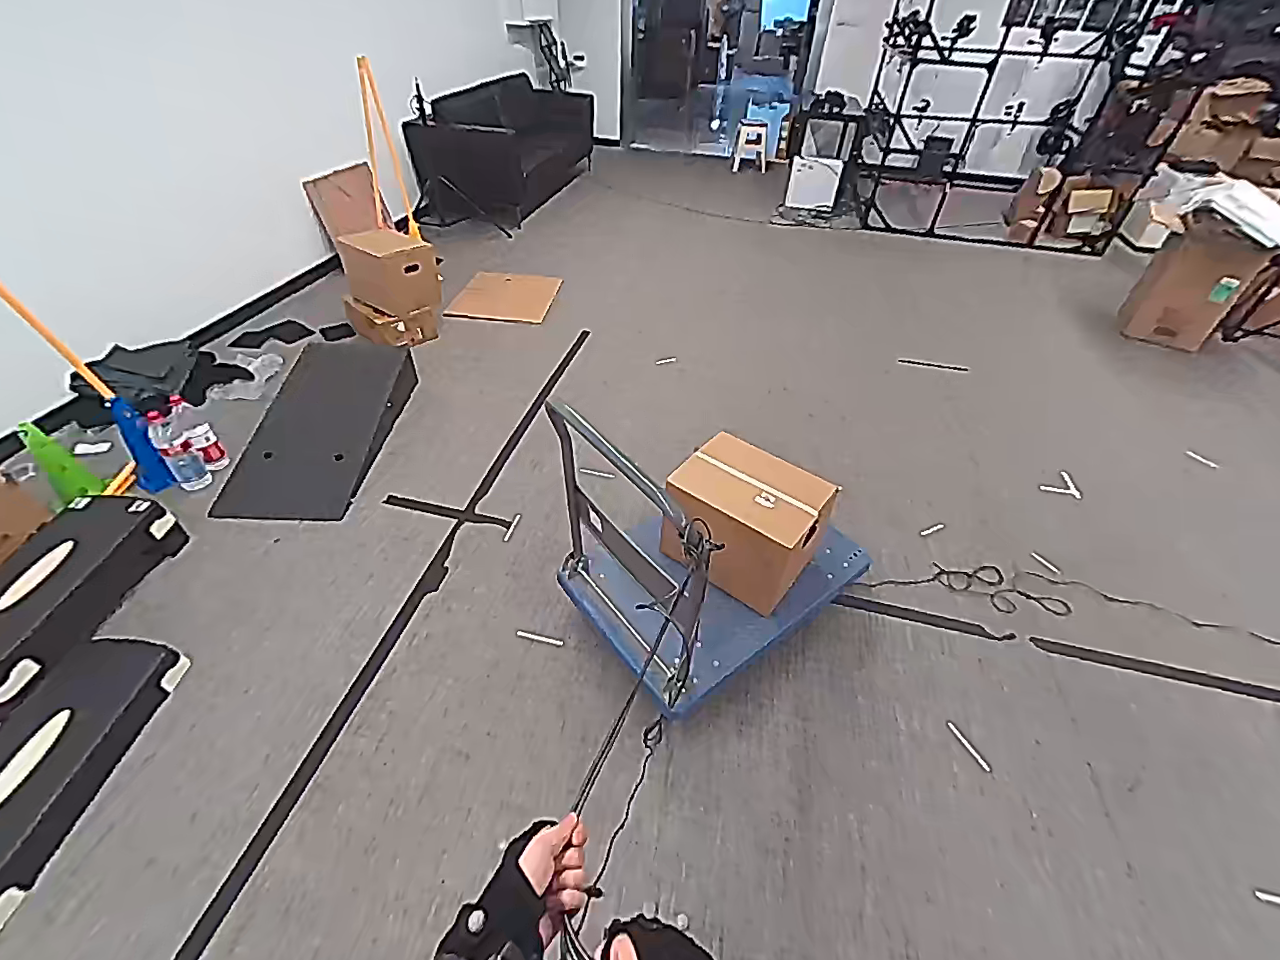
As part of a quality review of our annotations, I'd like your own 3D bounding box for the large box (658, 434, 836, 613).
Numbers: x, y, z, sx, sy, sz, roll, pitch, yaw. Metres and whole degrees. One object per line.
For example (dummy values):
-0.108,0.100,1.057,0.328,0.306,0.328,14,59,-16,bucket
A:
0.311,0.123,1.650,0.408,0.320,0.320,30,49,25,large box
